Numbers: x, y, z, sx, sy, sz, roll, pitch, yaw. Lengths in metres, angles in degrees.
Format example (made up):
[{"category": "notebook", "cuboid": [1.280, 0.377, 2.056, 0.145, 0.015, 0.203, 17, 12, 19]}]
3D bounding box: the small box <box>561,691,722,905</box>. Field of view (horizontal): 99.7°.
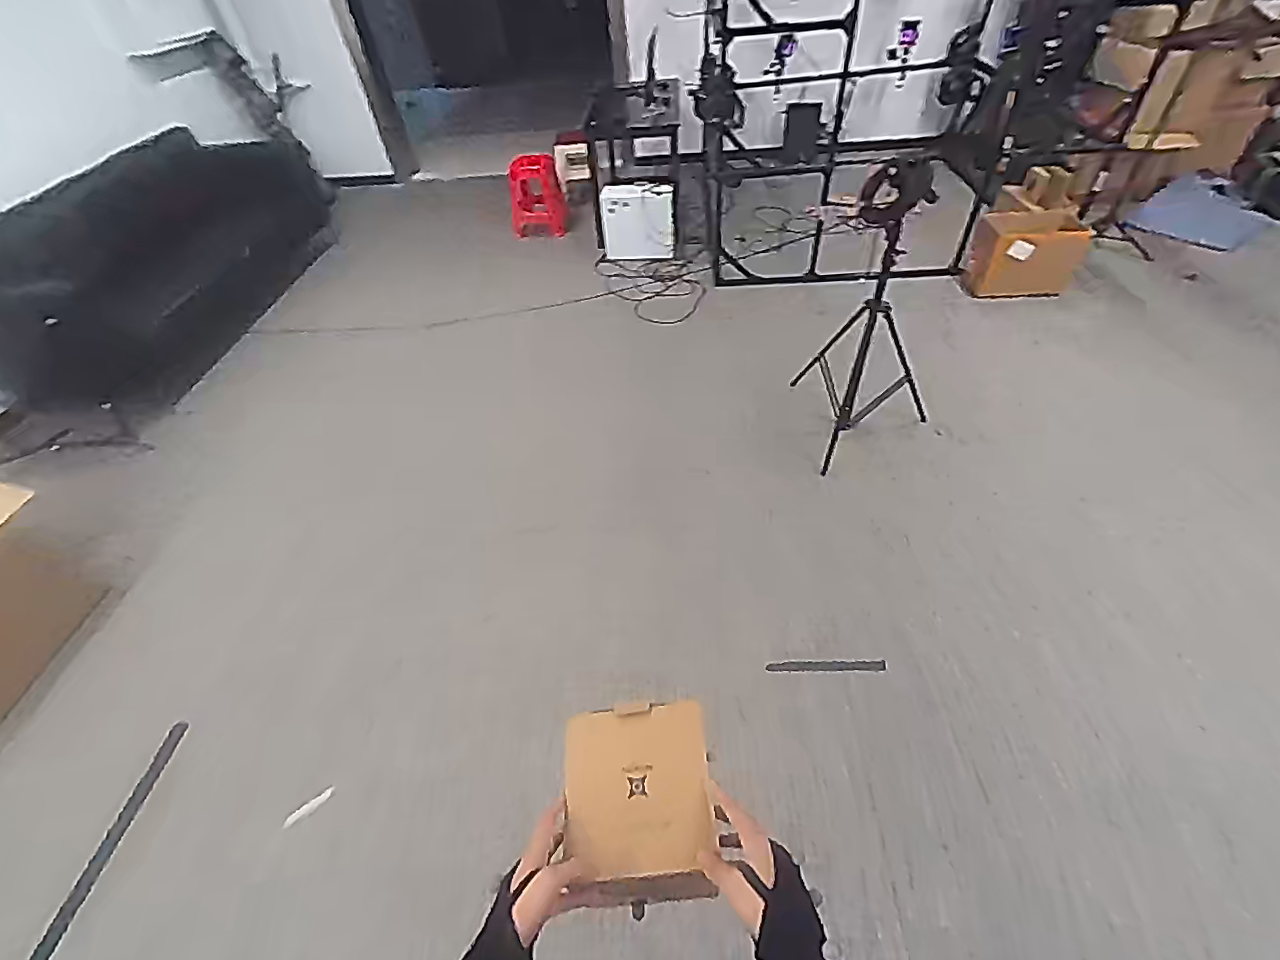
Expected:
[{"category": "small box", "cuboid": [0.002, 0.385, 0.658, 0.168, 0.176, 0.179, -7, 43, 0]}]
